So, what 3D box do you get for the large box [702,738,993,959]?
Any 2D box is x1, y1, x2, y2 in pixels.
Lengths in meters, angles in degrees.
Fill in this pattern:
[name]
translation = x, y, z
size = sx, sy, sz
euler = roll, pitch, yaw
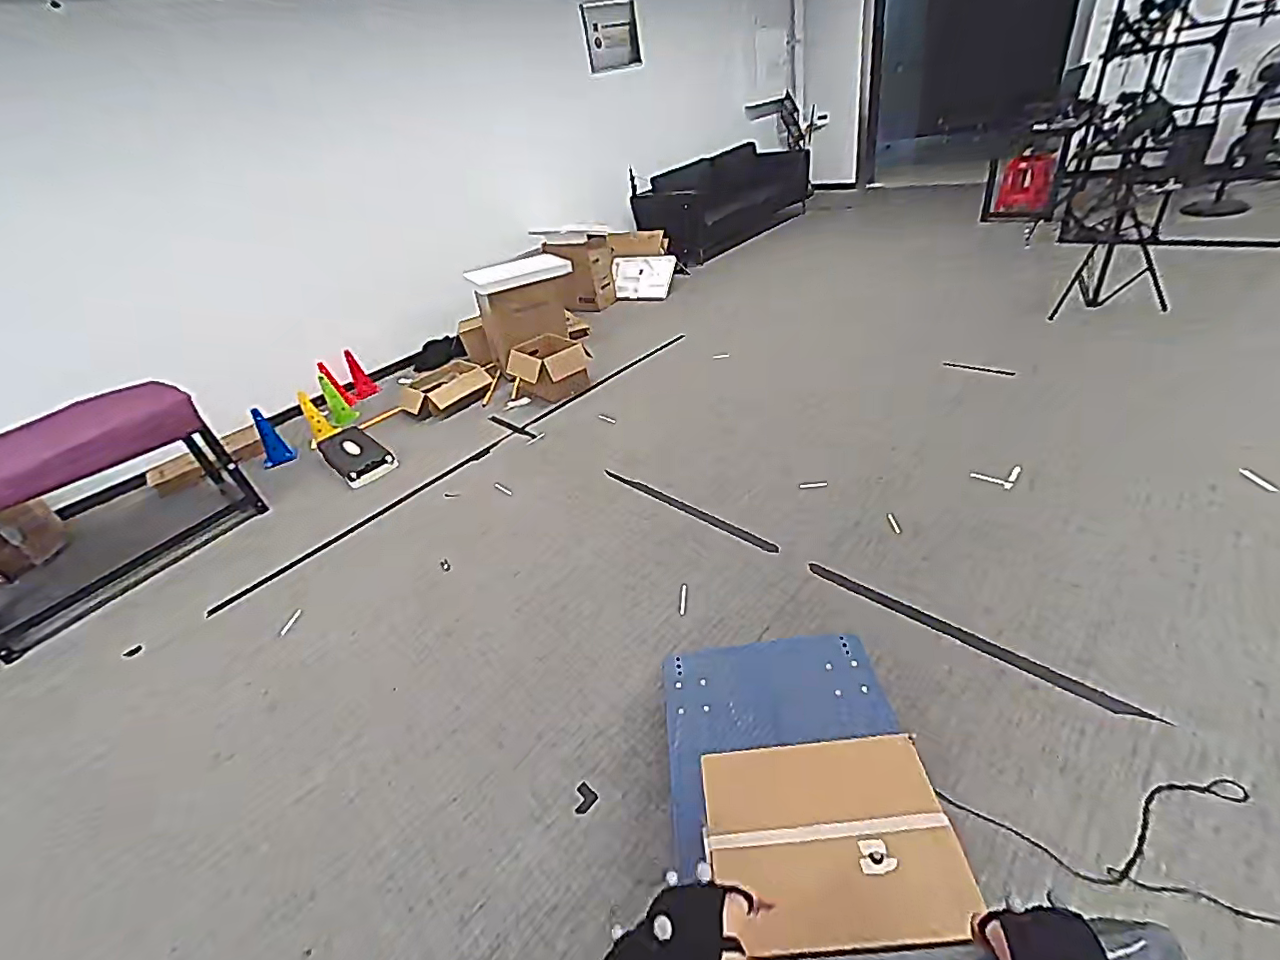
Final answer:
[large box]
translation = 0.343, 0.733, 1.011
size = 0.408, 0.320, 0.320
euler = -8, 36, 4
